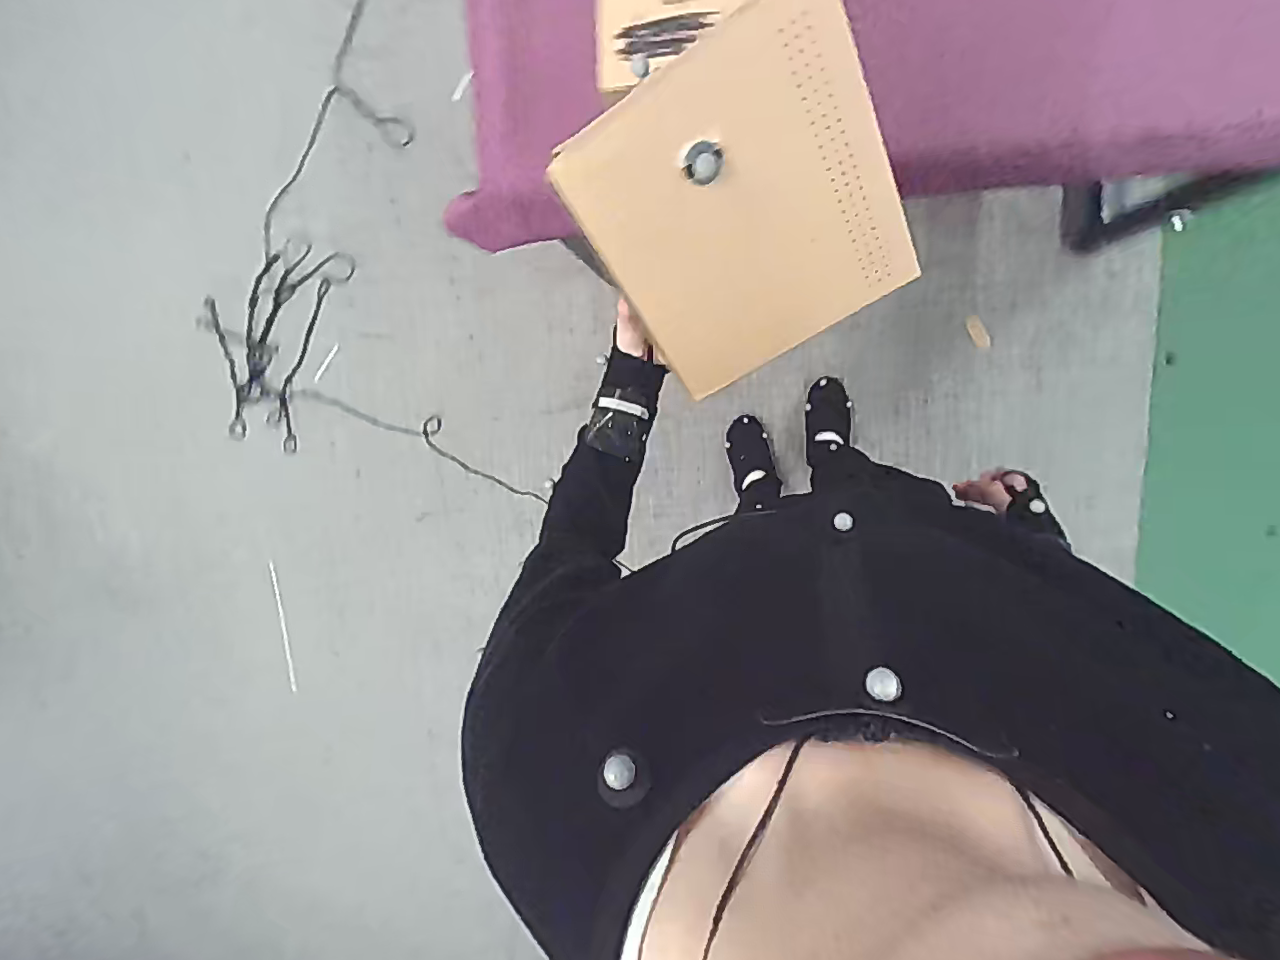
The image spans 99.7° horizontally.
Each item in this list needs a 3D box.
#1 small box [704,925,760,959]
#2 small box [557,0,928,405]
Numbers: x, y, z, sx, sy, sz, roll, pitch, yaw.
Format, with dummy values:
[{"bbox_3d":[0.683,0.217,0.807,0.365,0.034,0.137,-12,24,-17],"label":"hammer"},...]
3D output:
[{"bbox_3d":[0.272,1.490,1.618,0.168,0.176,0.179,2,99,11],"label":"small box"},{"bbox_3d":[0.066,-0.192,0.375,0.176,0.168,0.179,-27,123,18],"label":"small box"}]
